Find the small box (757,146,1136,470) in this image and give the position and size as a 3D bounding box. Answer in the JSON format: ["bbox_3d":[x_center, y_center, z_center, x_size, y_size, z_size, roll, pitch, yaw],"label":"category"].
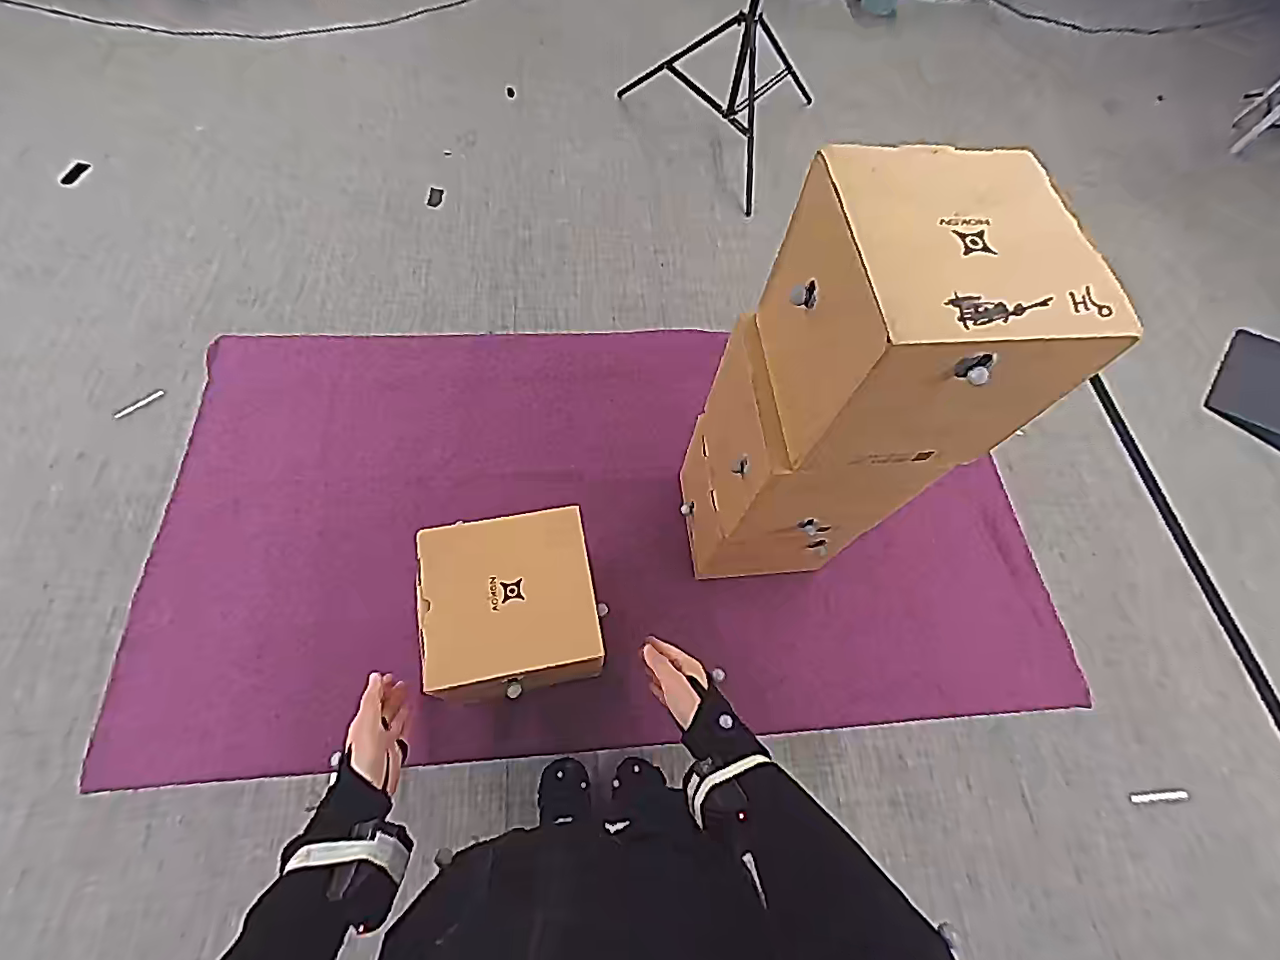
[{"bbox_3d":[0.202,-0.125,0.422,0.168,0.176,0.179,-4,64,-6],"label":"small box"}]

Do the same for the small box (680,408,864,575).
[{"bbox_3d":[0.159,0.020,0.714,0.179,0.176,0.168,-4,64,-6],"label":"small box"}]

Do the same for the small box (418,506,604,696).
[{"bbox_3d":[-0.142,0.146,0.628,0.179,0.176,0.168,-9,66,-8],"label":"small box"}]
